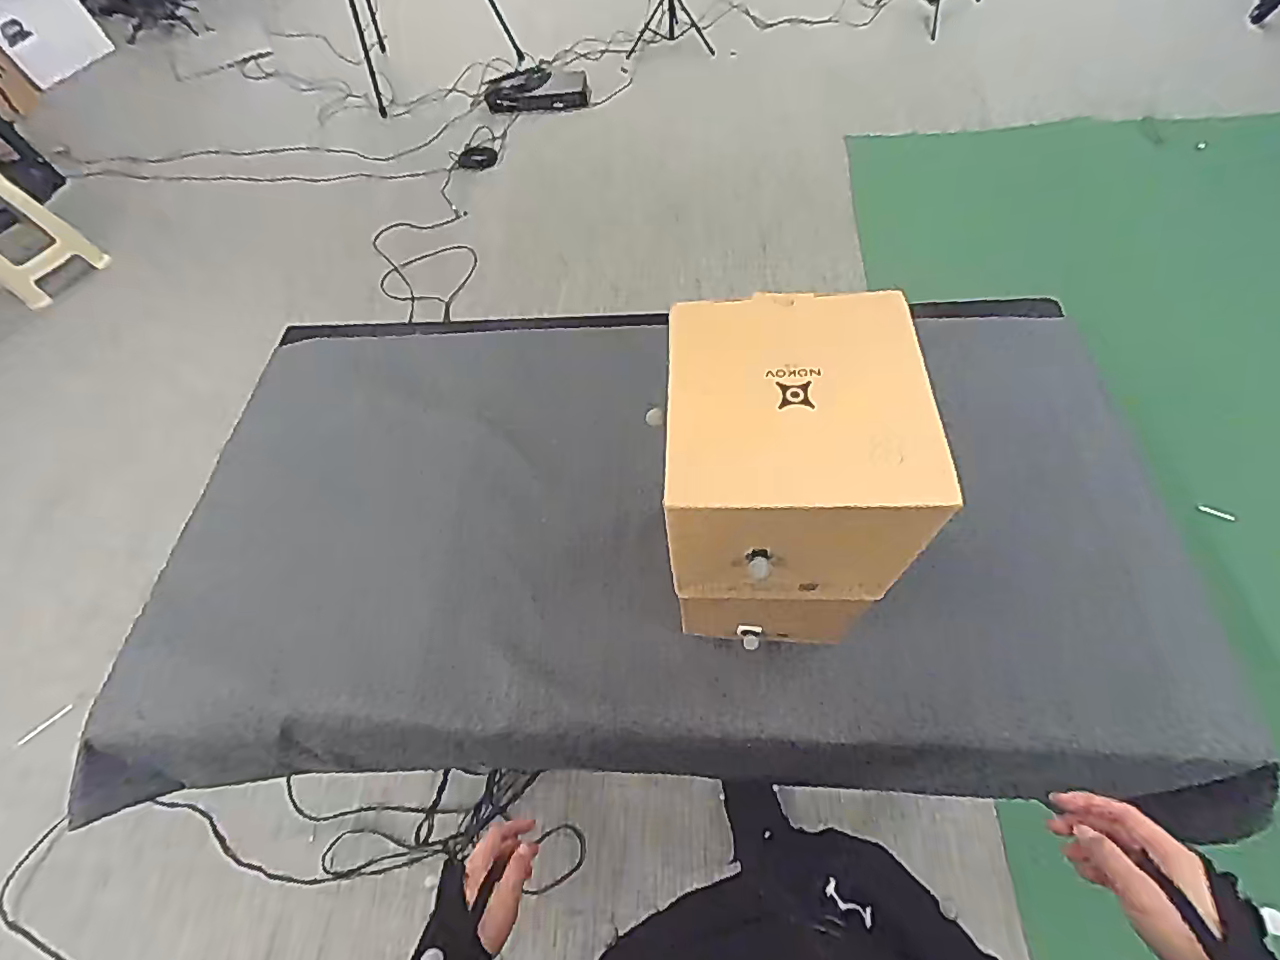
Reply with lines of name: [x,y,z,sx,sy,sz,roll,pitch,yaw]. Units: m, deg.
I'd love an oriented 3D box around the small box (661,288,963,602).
small box: [0.108,-0.015,0.408,0.168,0.176,0.179,-1,58,7]

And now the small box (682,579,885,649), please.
small box: [0.130,0.061,0.551,0.168,0.176,0.179,0,60,8]
